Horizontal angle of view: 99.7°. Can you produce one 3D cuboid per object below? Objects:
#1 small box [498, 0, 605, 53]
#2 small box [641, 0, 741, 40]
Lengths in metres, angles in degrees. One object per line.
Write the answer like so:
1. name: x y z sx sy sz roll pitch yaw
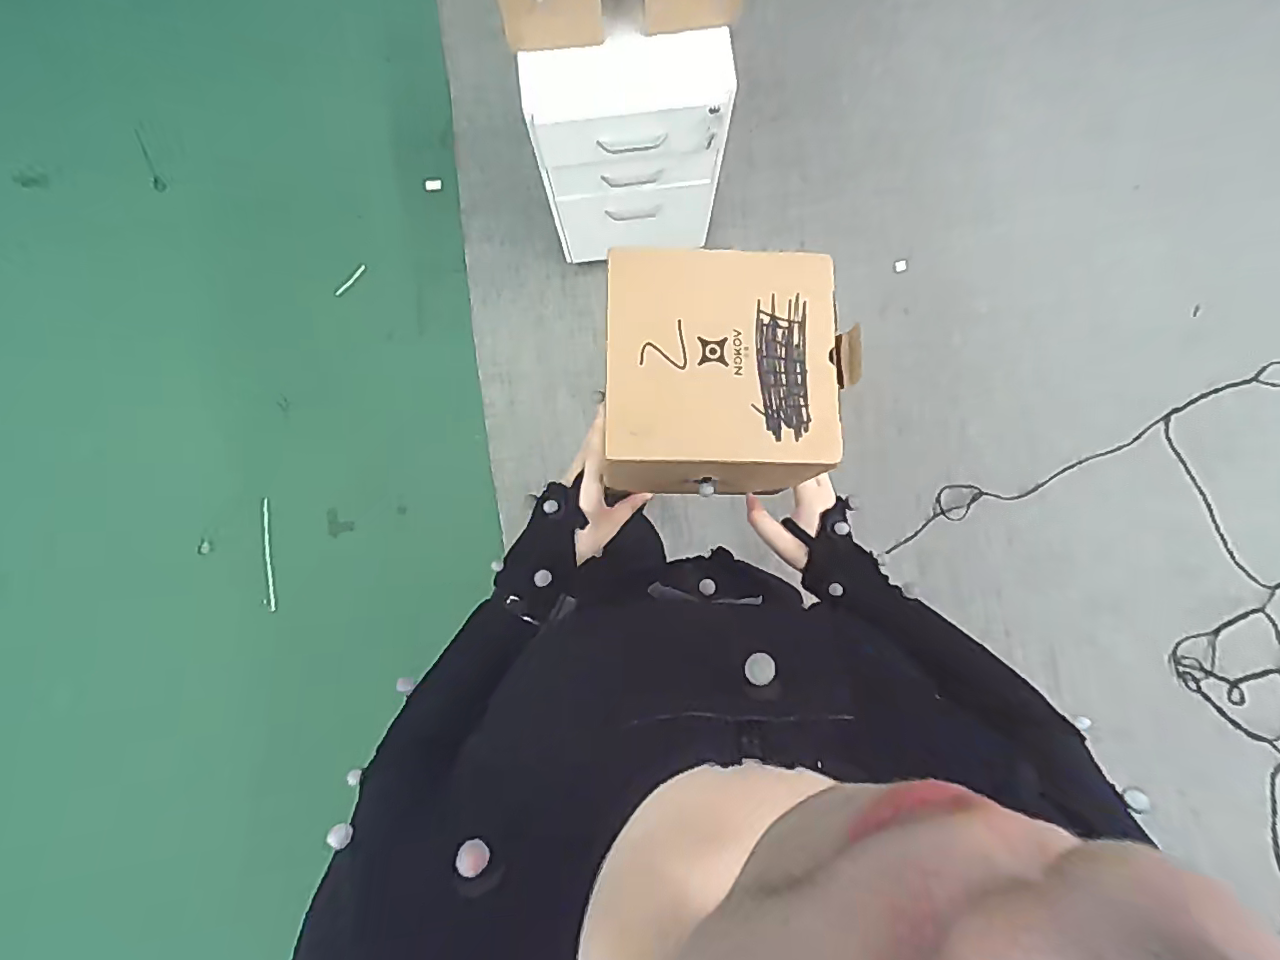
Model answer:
1. small box: -0.159 -0.874 0.920 0.179 0.176 0.168 -6 85 -1
2. small box: 0.085 -0.905 0.923 0.179 0.176 0.168 -7 83 2
